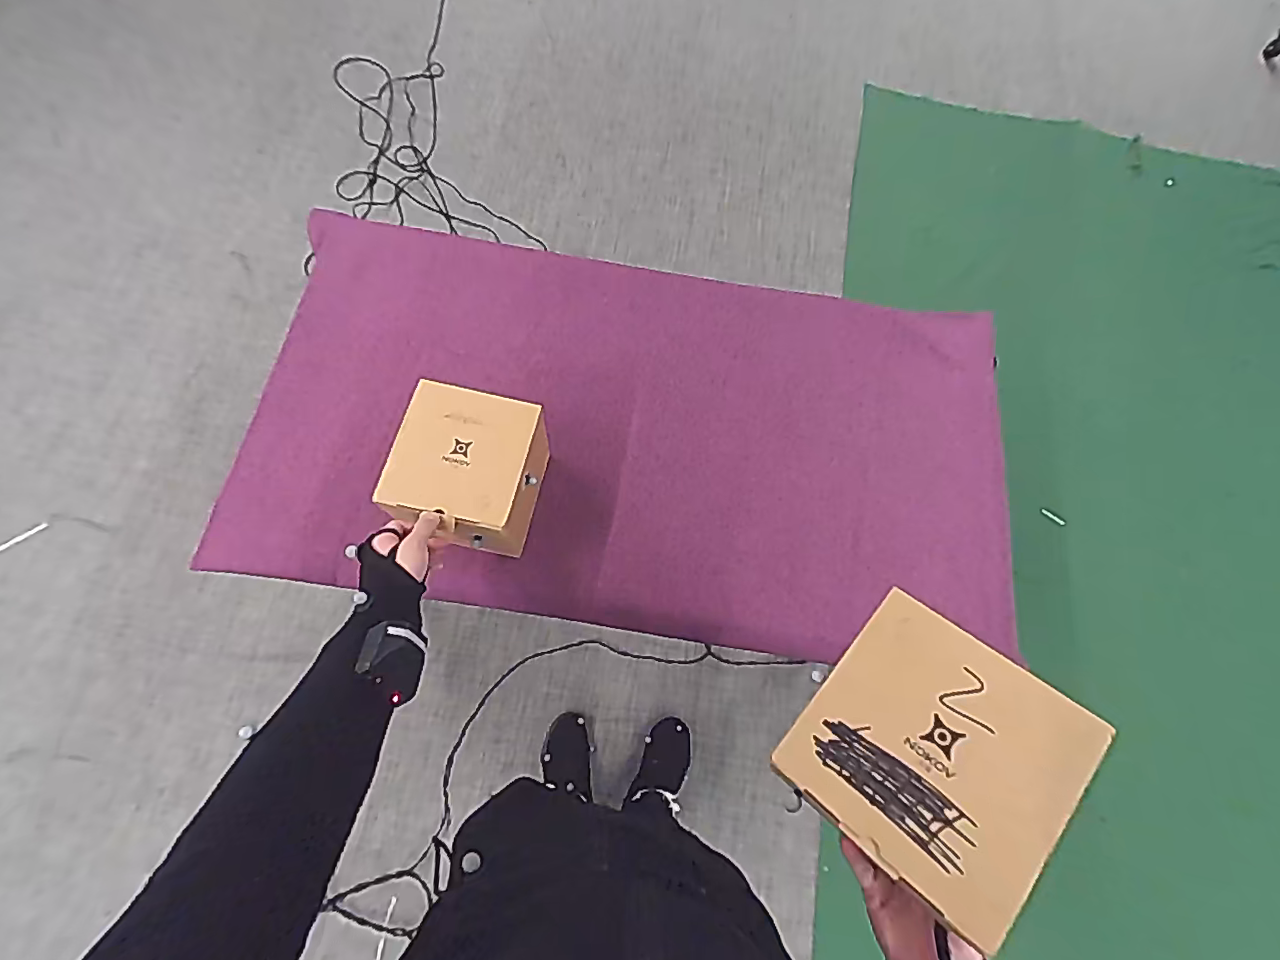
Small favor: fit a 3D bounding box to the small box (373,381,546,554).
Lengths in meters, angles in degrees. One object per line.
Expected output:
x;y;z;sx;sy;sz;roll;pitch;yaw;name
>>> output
-0.234;-0.007;0.759;0.168;0.176;0.179;14;69;0;small box
